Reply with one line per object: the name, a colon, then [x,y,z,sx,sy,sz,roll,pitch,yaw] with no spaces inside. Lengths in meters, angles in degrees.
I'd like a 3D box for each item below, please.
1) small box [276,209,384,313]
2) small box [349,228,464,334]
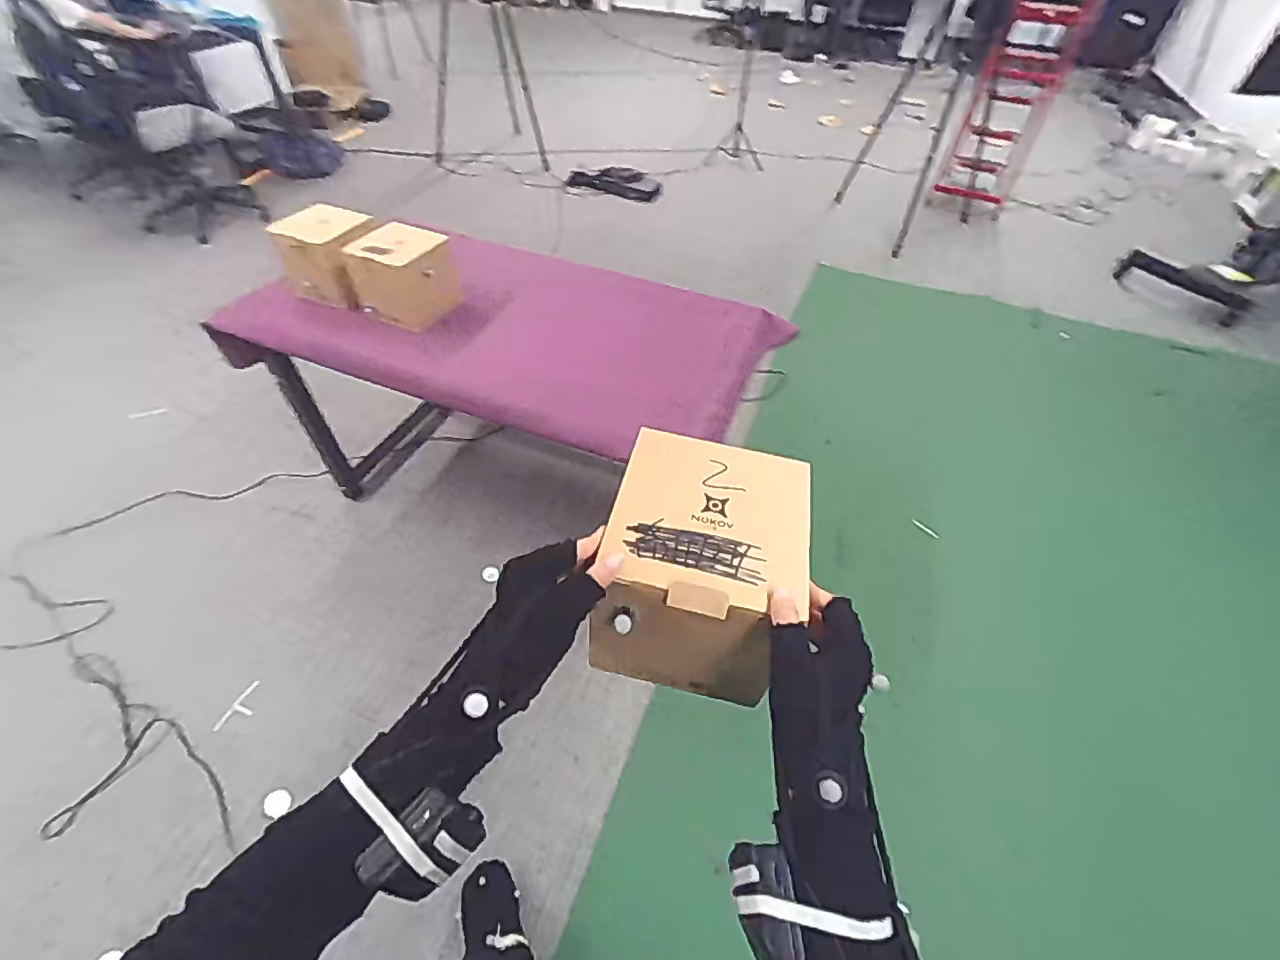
small box: [-0.753,-0.550,1.359,0.168,0.176,0.179,19,50,14]
small box: [-0.551,-0.478,1.306,0.168,0.176,0.179,20,50,14]
